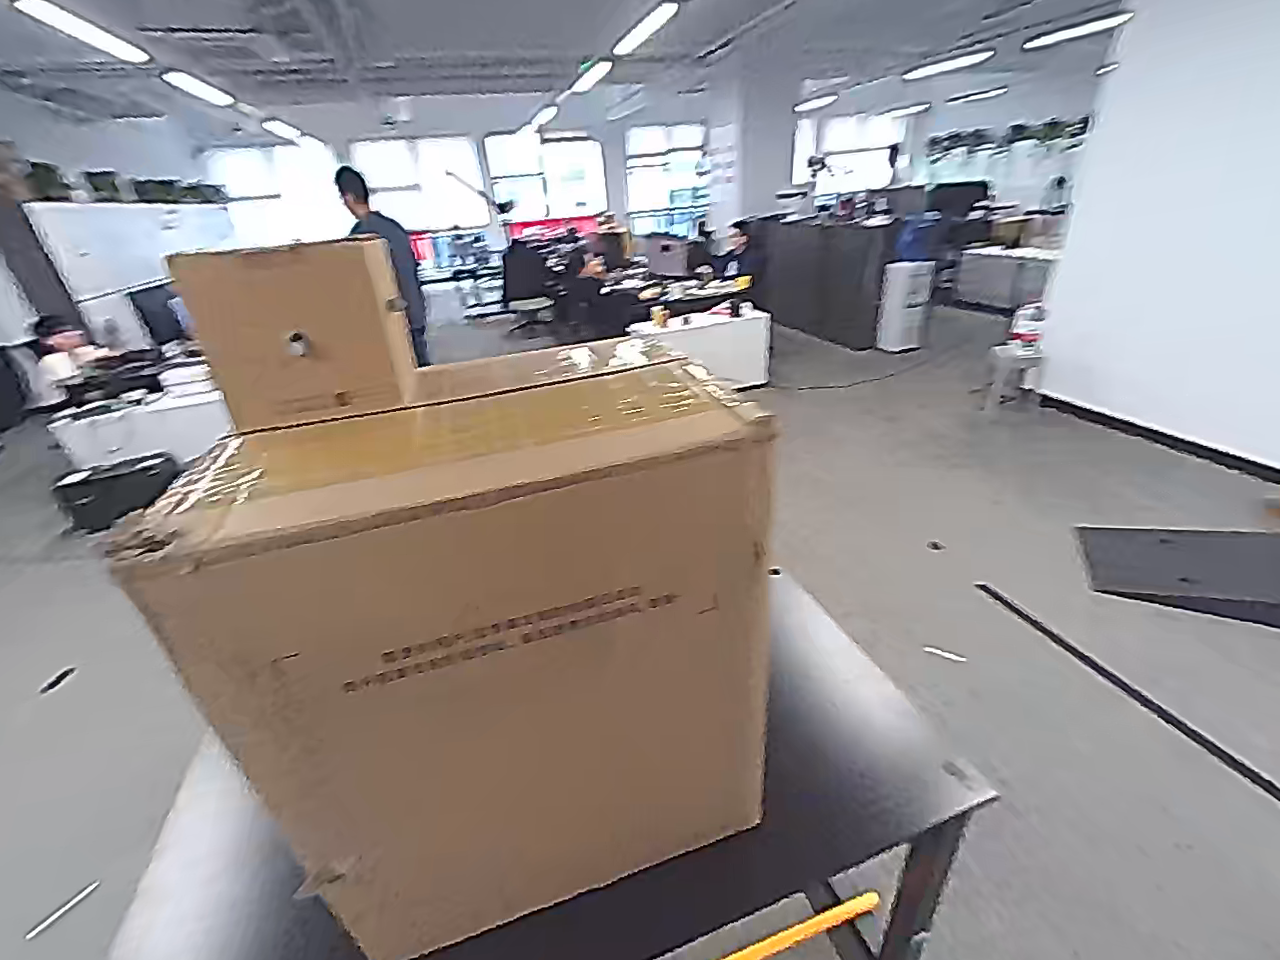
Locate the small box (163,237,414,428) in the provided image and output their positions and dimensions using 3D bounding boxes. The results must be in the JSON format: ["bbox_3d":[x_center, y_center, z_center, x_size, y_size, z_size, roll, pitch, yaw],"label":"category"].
[{"bbox_3d":[-0.355,-0.164,0.591,0.168,0.176,0.179,-12,27,-15],"label":"small box"}]
